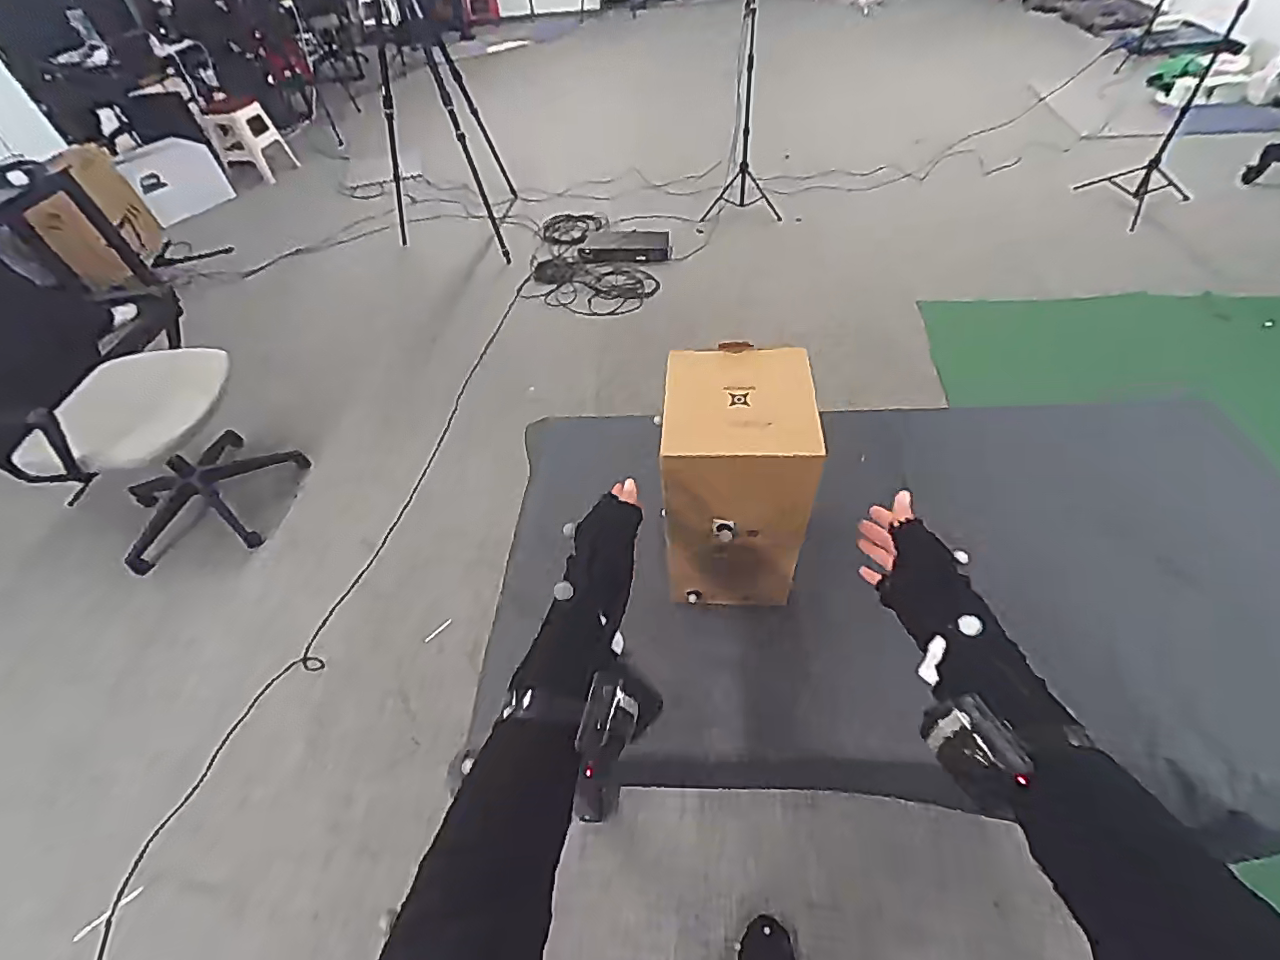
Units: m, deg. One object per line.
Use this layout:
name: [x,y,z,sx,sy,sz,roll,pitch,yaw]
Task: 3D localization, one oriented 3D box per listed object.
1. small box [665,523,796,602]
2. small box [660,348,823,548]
small box: [0.129,0.062,0.782,0.168,0.176,0.179,2,49,7]
small box: [0.115,-0.039,0.655,0.168,0.176,0.179,2,51,7]
